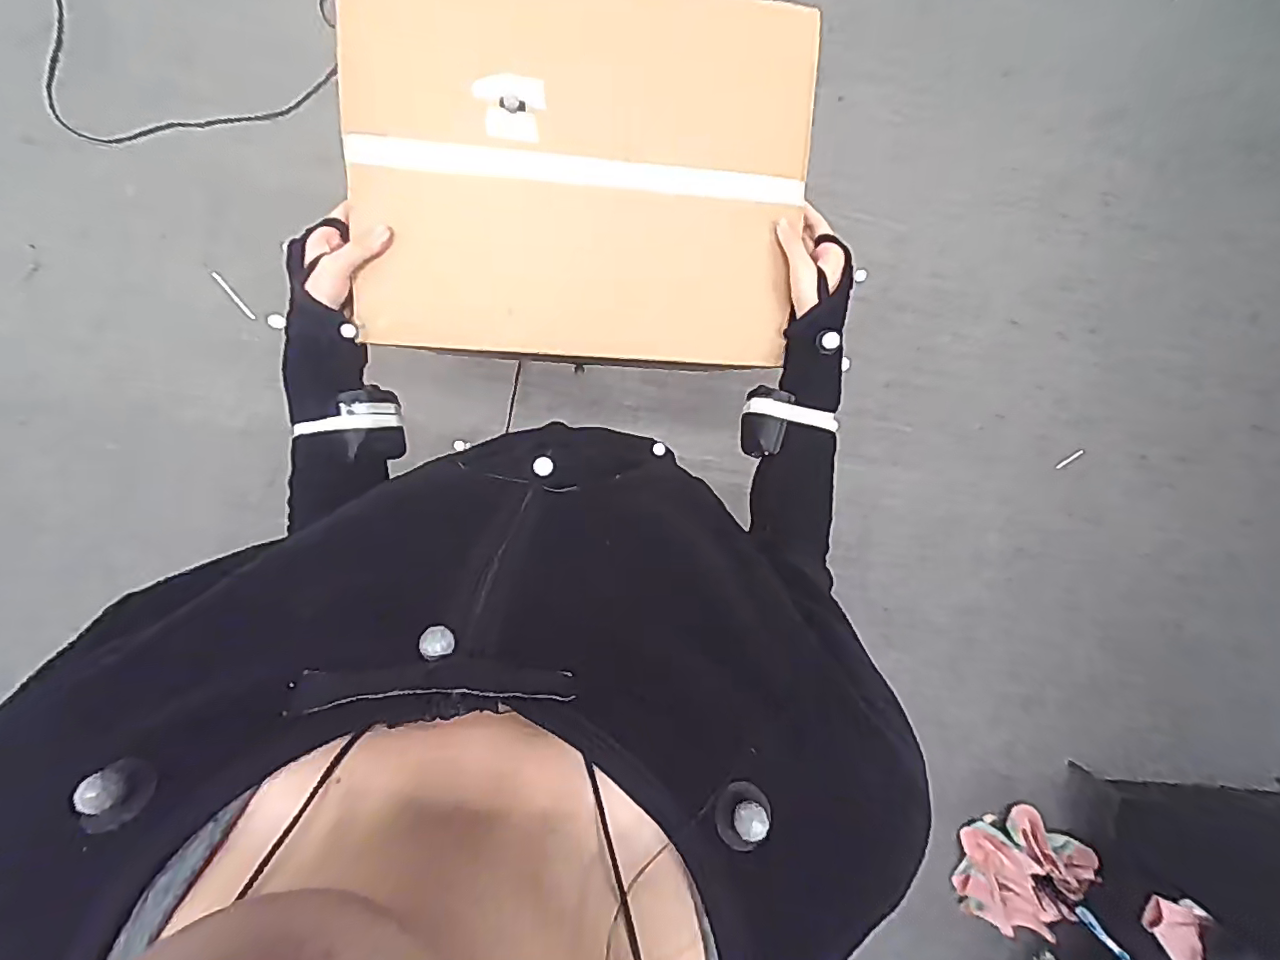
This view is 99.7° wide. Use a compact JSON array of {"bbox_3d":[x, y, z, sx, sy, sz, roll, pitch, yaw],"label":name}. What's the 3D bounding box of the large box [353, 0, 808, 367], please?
[{"bbox_3d":[-0.064,-0.300,0.642,0.408,0.320,0.320,2,100,-8],"label":"large box"}]
